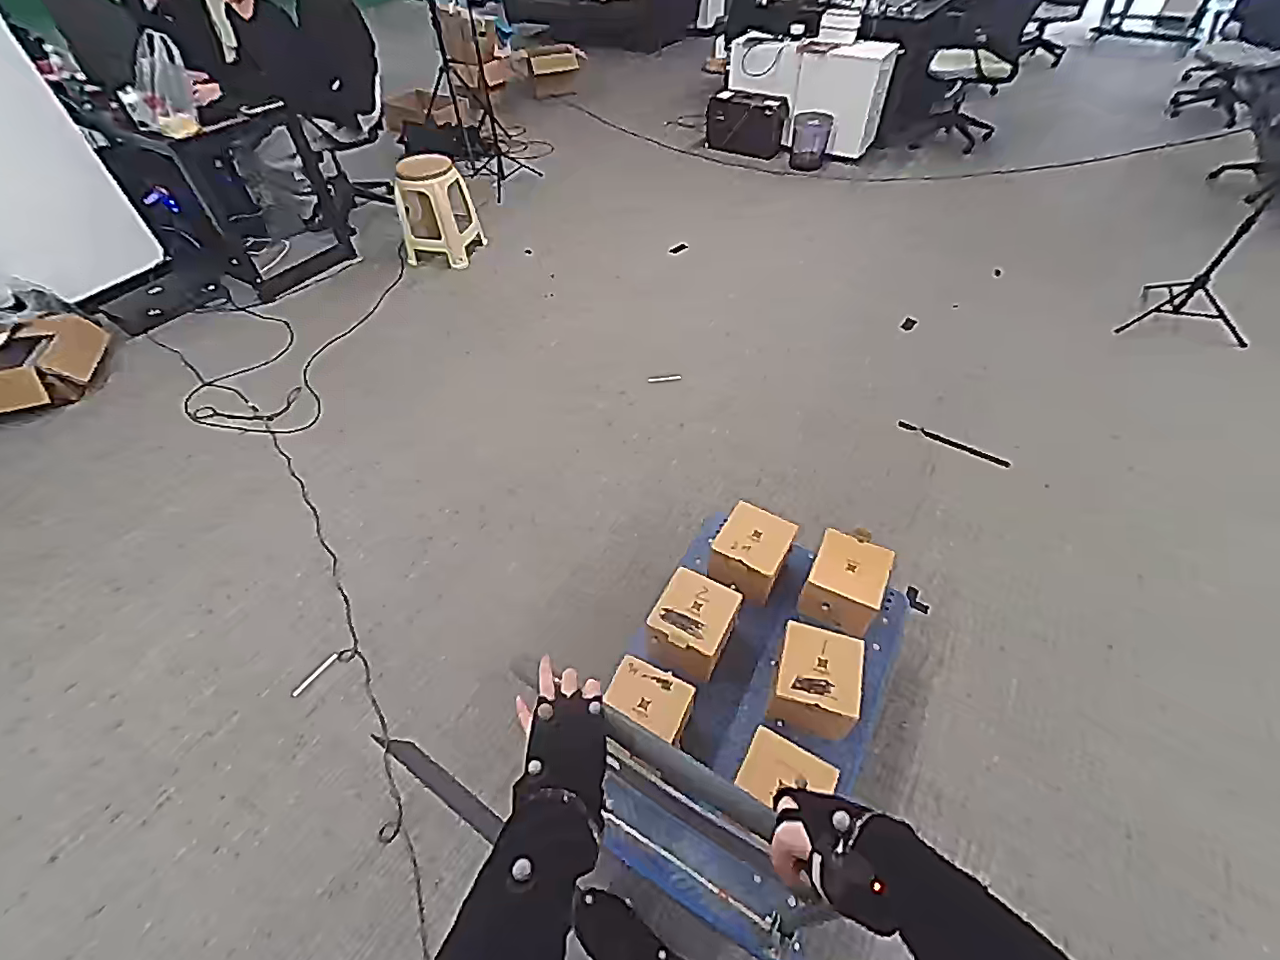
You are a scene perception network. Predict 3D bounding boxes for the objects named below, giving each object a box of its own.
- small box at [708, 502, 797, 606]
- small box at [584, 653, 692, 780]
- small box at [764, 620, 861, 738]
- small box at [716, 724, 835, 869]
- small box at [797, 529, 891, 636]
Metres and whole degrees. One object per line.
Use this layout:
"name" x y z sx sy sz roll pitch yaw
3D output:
"small box" 0.287 0.196 1.419 0.168 0.176 0.179 25 56 22
"small box" 0.001 0.512 1.161 0.168 0.176 0.179 22 54 17
"small box" 0.379 0.449 1.207 0.168 0.176 0.179 14 51 13
"small box" 0.258 0.625 1.063 0.168 0.176 0.179 25 54 20
"small box" 0.506 0.262 1.360 0.168 0.176 0.179 22 54 19
